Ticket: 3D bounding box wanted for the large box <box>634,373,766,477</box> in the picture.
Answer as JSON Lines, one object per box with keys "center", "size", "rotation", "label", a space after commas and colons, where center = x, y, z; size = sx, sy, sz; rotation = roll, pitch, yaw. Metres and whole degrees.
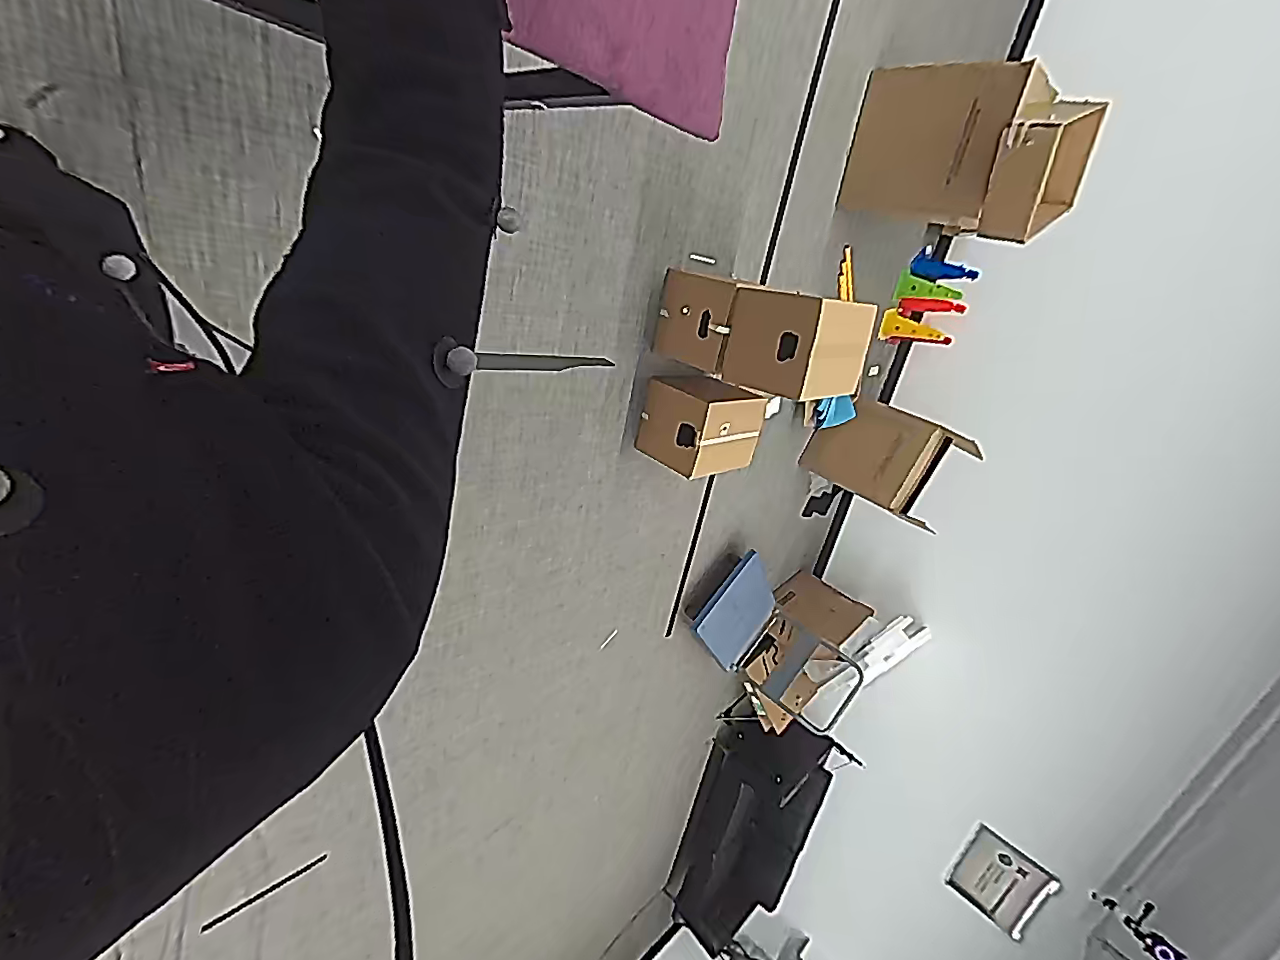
{"center": [0.243, -0.242, 2.213], "size": [0.408, 0.320, 0.320], "rotation": [-12, 123, -43], "label": "large box"}
